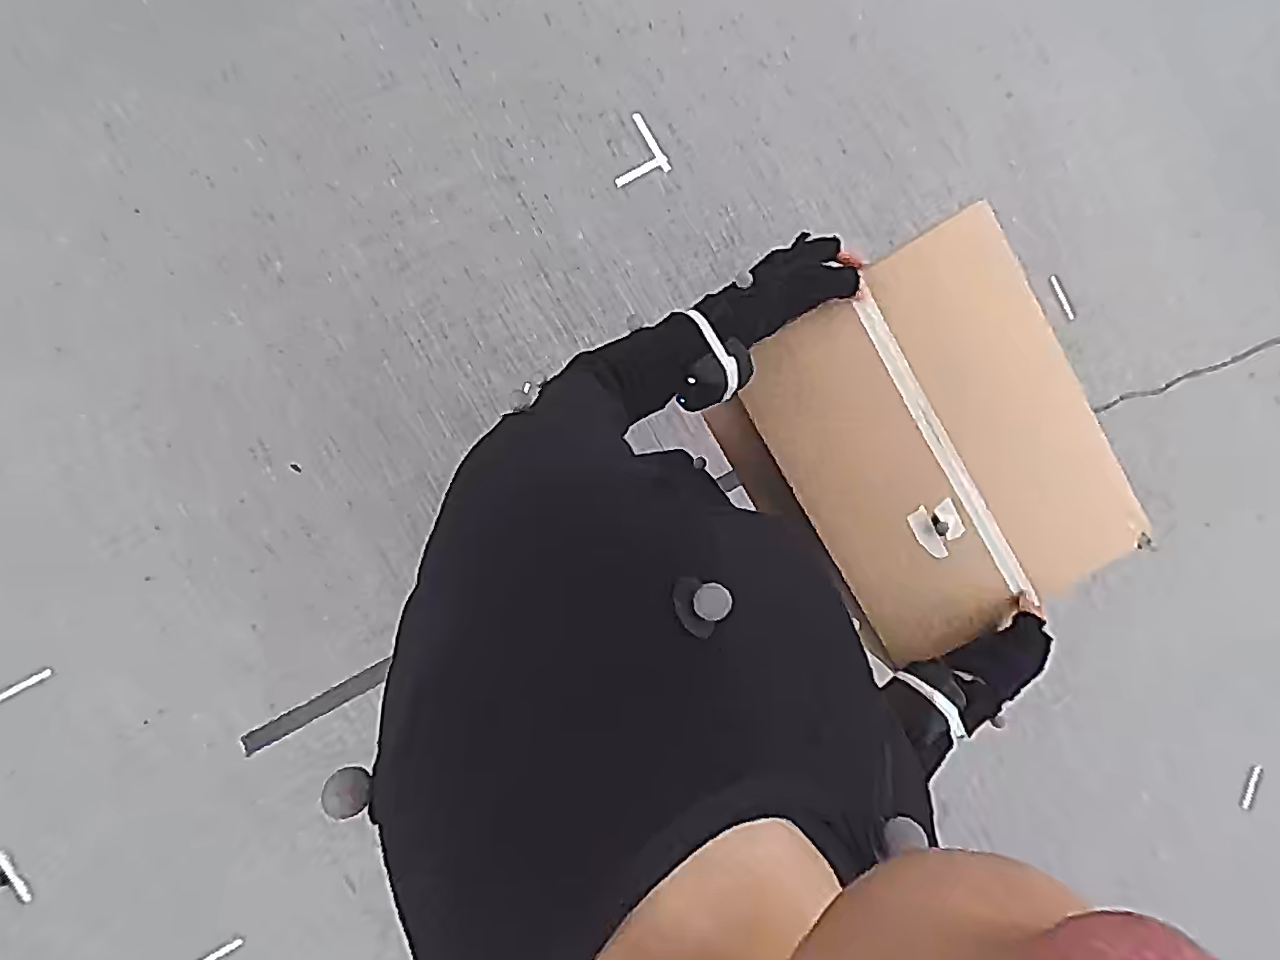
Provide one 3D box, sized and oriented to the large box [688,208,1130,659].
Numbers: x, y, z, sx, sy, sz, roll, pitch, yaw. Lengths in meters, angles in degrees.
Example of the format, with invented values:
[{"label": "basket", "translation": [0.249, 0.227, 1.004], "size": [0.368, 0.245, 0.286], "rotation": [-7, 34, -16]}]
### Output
[{"label": "large box", "translation": [0.308, -0.057, 0.730], "size": [0.320, 0.320, 0.408], "rotation": [-31, 97, 3]}]
